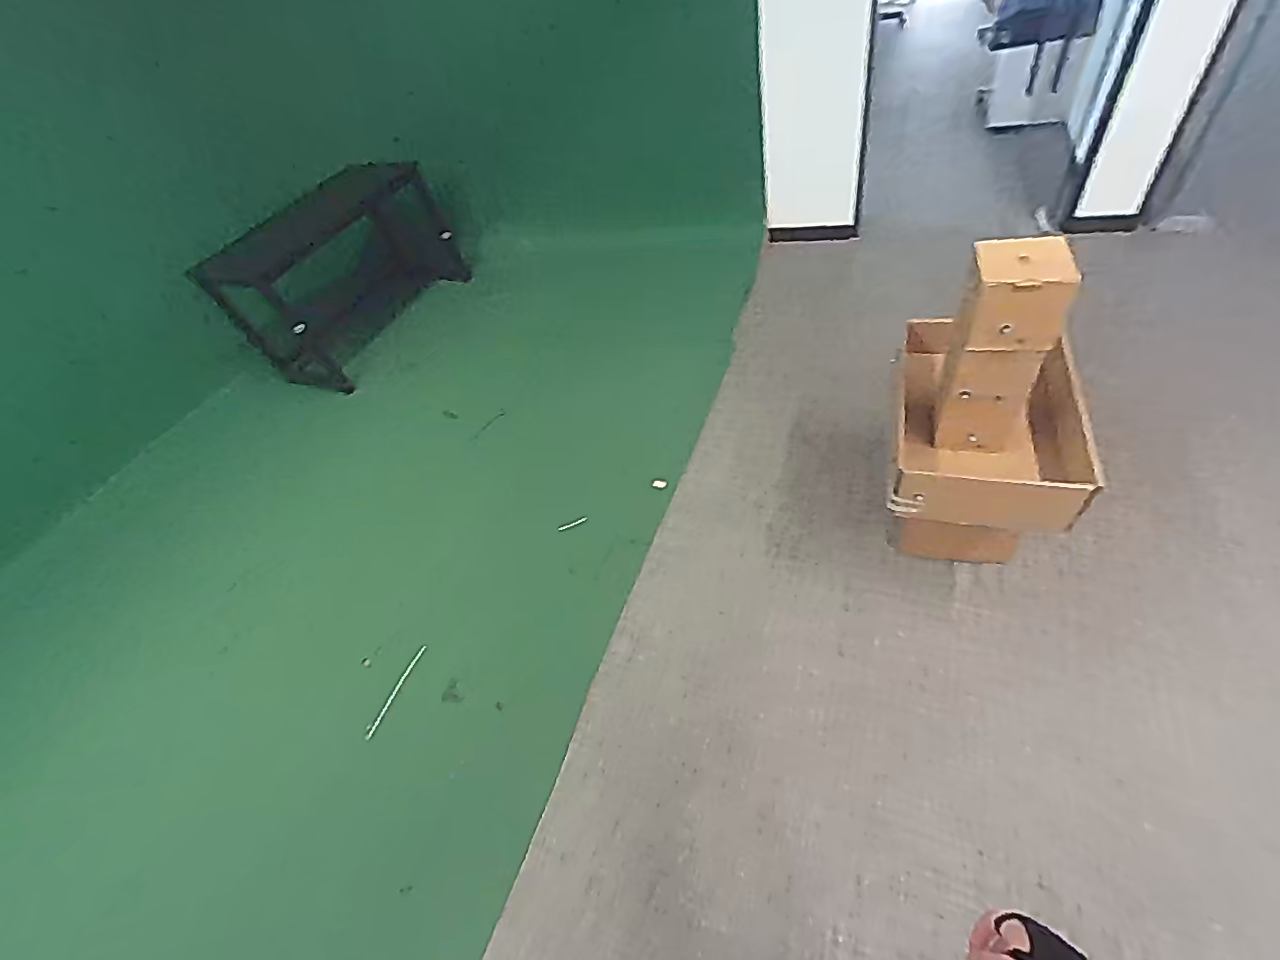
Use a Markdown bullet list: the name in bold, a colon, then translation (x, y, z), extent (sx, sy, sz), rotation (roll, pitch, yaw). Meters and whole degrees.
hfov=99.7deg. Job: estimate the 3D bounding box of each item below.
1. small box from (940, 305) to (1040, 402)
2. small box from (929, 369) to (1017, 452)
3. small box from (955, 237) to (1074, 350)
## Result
- **small box**: translation (0.836, -0.306, 1.308), extent (0.168, 0.176, 0.179), rotation (5, 50, 19)
- **small box**: translation (0.870, -0.200, 1.427), extent (0.168, 0.176, 0.179), rotation (6, 52, 21)
- **small box**: translation (0.805, -0.407, 1.185), extent (0.168, 0.176, 0.179), rotation (5, 52, 19)
